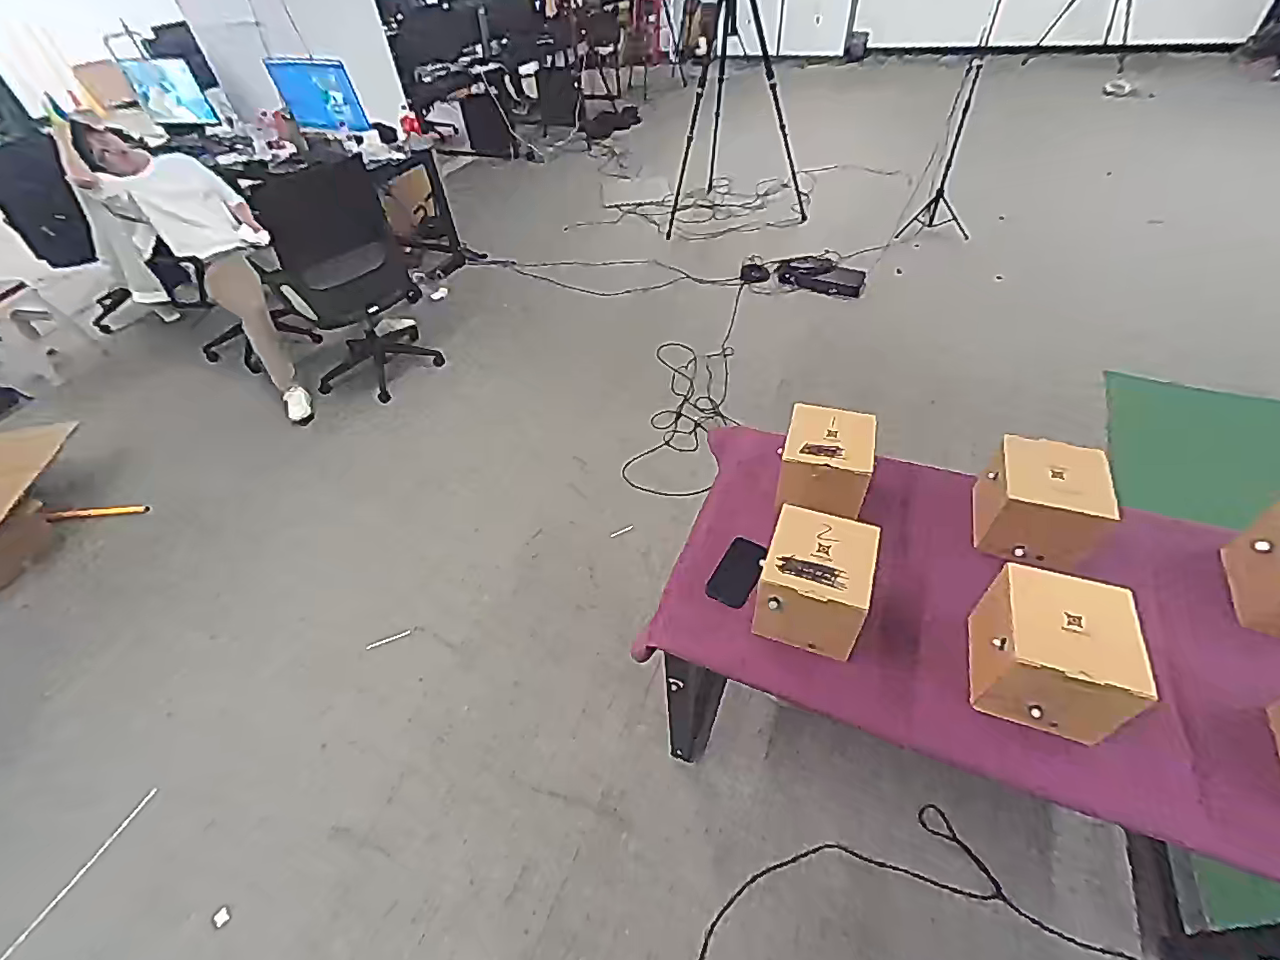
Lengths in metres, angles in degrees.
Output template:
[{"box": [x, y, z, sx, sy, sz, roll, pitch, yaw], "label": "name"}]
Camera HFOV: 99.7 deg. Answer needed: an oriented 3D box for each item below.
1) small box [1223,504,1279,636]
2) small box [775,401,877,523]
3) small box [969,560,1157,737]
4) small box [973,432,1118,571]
[{"box": [1.118, 0.153, 0.880, 0.168, 0.176, 0.179, 16, 50, 21], "label": "small box"}, {"box": [0.382, -0.035, 1.126, 0.168, 0.176, 0.179, 12, 48, 15], "label": "small box"}, {"box": [0.624, 0.257, 0.828, 0.168, 0.176, 0.179, 13, 49, 17], "label": "small box"}, {"box": [0.750, 0.040, 1.023, 0.168, 0.176, 0.179, 14, 50, 19], "label": "small box"}]
